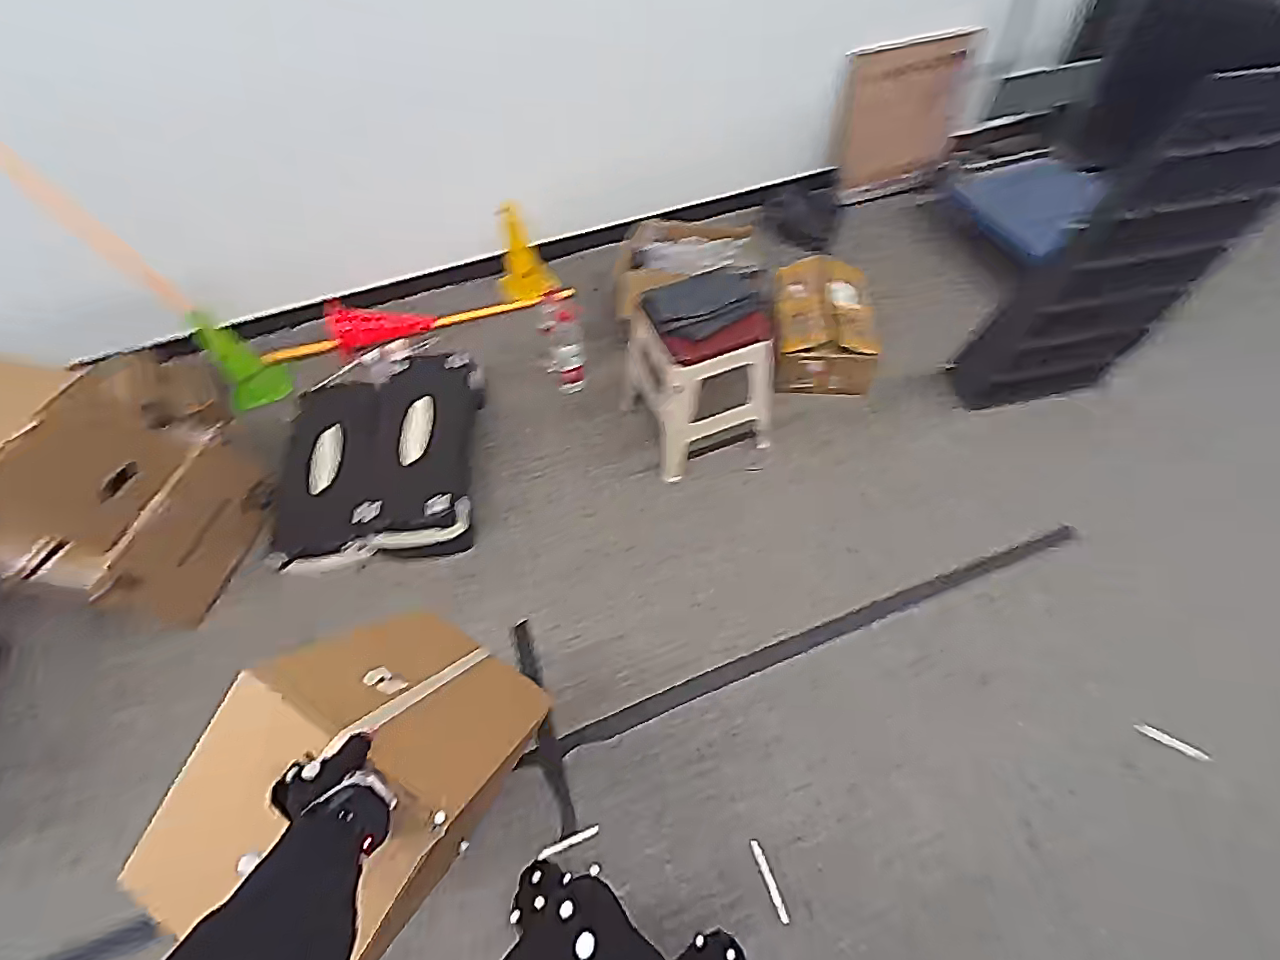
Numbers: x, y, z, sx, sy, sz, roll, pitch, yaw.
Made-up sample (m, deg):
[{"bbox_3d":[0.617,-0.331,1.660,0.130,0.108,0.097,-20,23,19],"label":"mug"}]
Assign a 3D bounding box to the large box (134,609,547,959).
[{"bbox_3d":[-0.404,0.450,0.837,0.320,0.408,0.320,33,93,9],"label":"large box"}]
